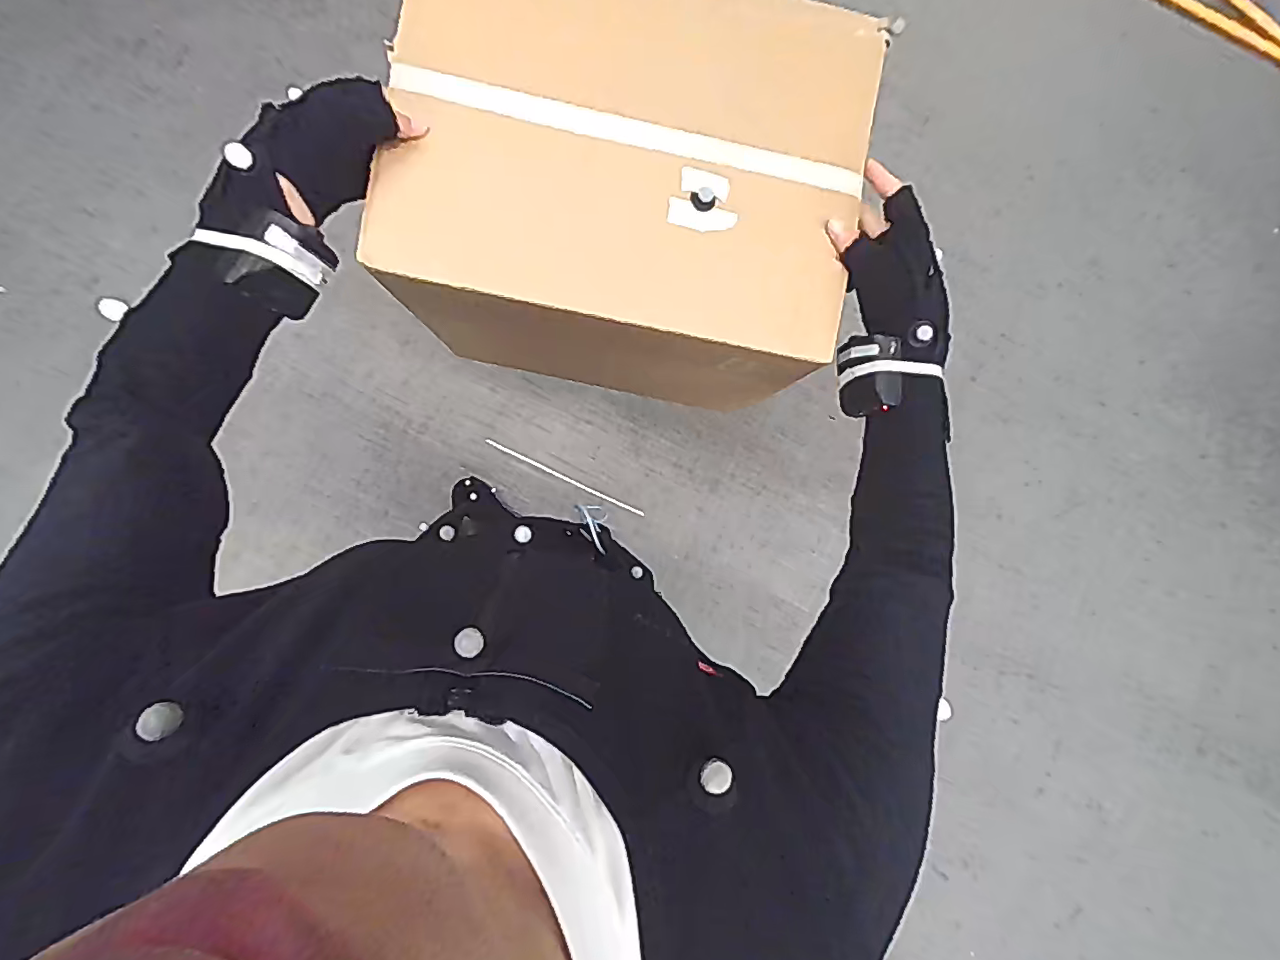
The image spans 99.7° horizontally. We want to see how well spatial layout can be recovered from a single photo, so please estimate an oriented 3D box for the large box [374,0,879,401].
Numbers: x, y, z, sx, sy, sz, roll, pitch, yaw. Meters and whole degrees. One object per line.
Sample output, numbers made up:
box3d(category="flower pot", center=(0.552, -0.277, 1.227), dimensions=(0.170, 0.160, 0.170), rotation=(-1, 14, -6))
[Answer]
box3d(category="large box", center=(-0.018, -0.295, 0.610), dimensions=(0.408, 0.320, 0.320), rotation=(10, 89, -6))
